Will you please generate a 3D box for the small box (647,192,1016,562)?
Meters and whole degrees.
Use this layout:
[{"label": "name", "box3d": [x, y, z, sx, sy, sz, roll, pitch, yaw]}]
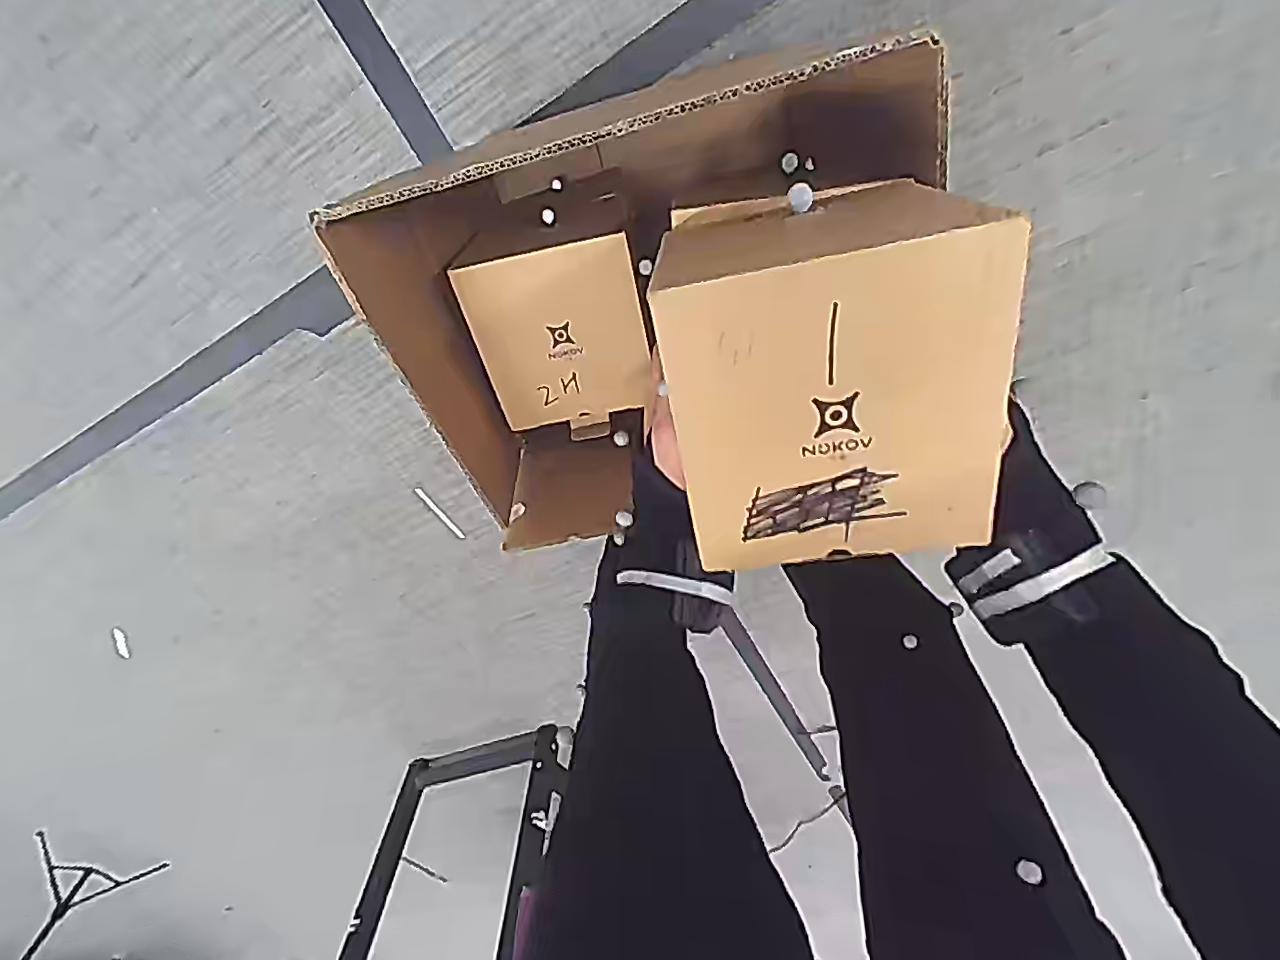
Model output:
[{"label": "small box", "box3d": [0.107, -0.072, 0.356, 0.168, 0.176, 0.179, -8, 121, 11]}]
